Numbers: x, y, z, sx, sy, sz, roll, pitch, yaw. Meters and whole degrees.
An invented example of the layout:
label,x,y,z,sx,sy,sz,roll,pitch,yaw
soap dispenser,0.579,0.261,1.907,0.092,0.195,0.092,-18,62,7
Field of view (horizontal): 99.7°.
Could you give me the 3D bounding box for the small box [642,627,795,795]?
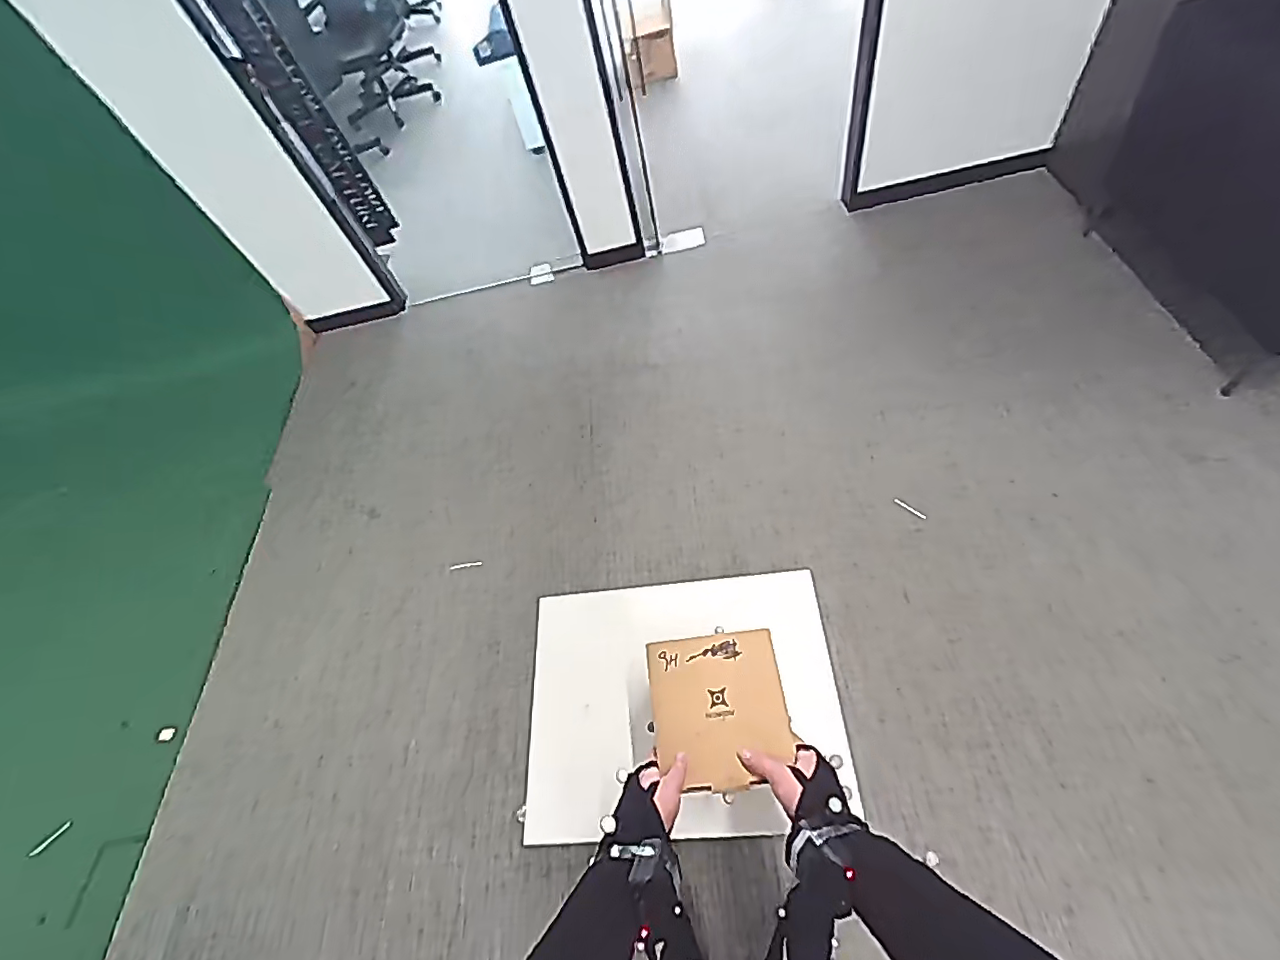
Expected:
label,x,y,z,sx,sy,sz,roll,pitch,yaw
small box,0.101,0.319,0.738,0.168,0.176,0.179,-9,58,1
